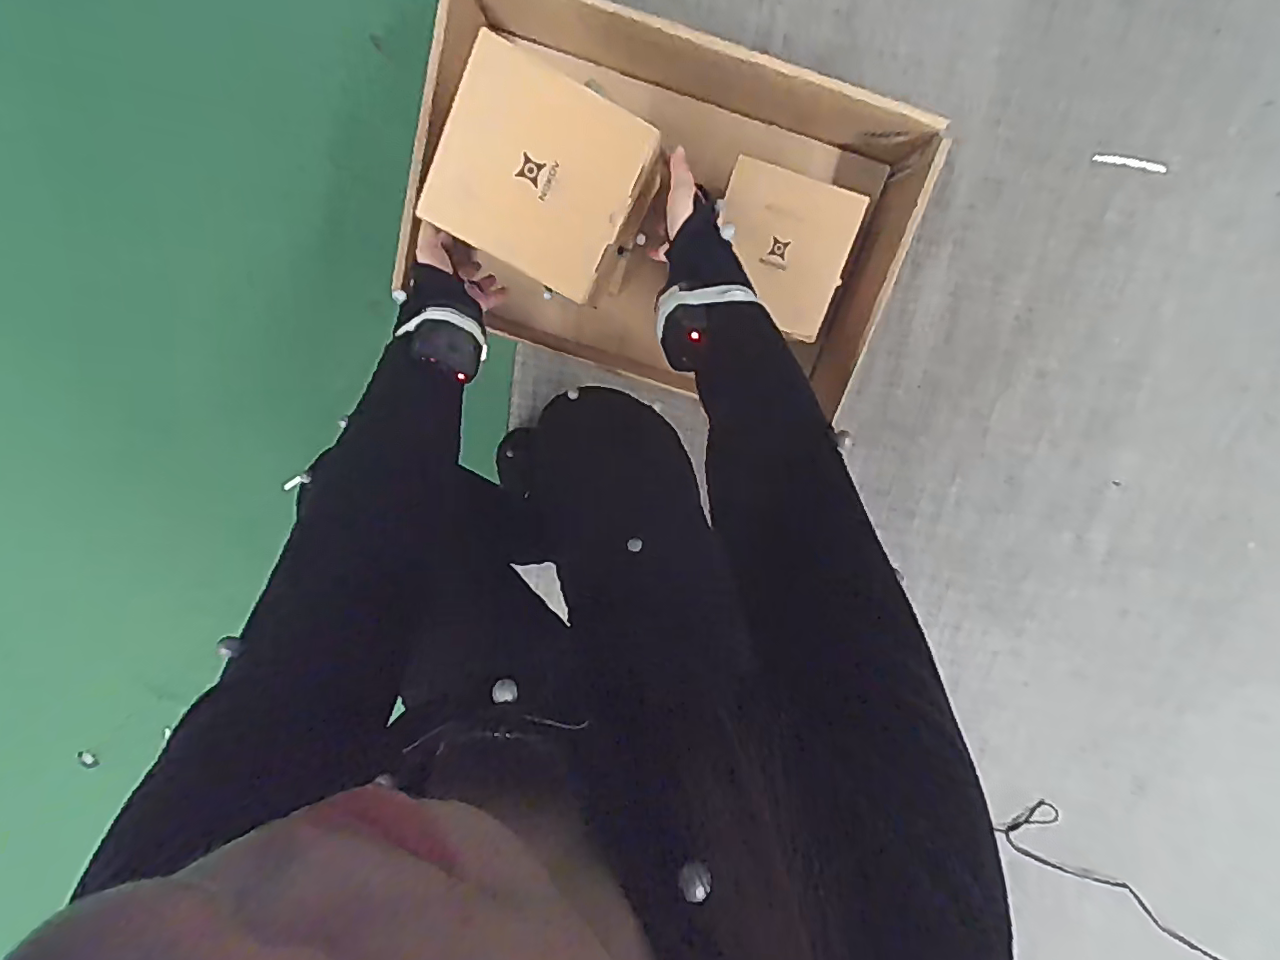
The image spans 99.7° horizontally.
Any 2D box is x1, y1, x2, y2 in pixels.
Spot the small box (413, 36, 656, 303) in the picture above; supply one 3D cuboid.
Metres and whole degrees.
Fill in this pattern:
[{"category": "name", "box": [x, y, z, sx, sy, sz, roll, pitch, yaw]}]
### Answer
[{"category": "small box", "box": [-0.099, -0.297, 0.569, 0.179, 0.176, 0.168, 26, 105, -8]}]
